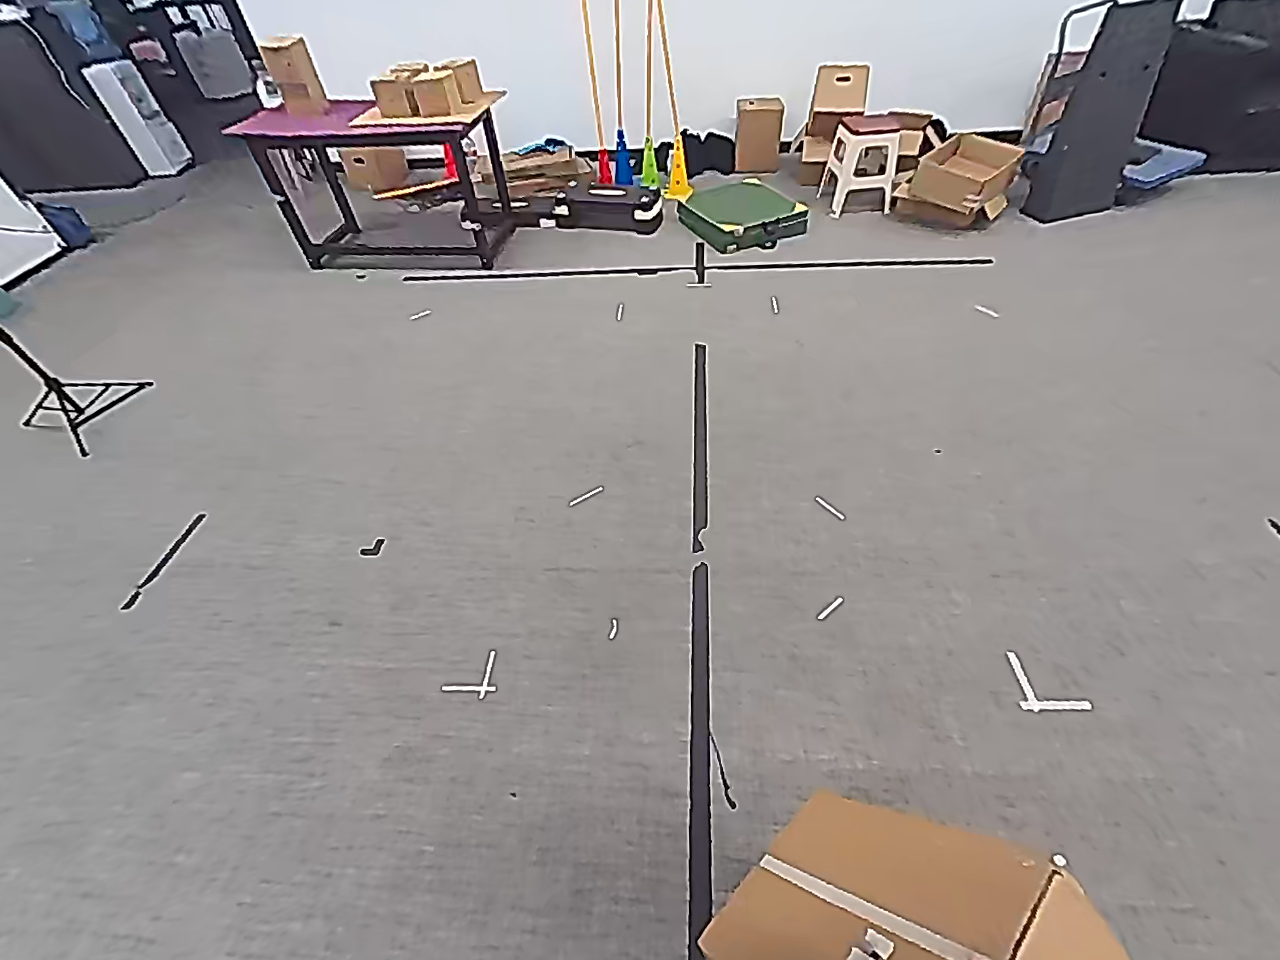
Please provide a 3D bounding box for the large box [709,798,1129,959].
[{"bbox_3d":[0.368,0.686,0.690,0.320,0.408,0.320,-30,86,-29],"label":"large box"}]
